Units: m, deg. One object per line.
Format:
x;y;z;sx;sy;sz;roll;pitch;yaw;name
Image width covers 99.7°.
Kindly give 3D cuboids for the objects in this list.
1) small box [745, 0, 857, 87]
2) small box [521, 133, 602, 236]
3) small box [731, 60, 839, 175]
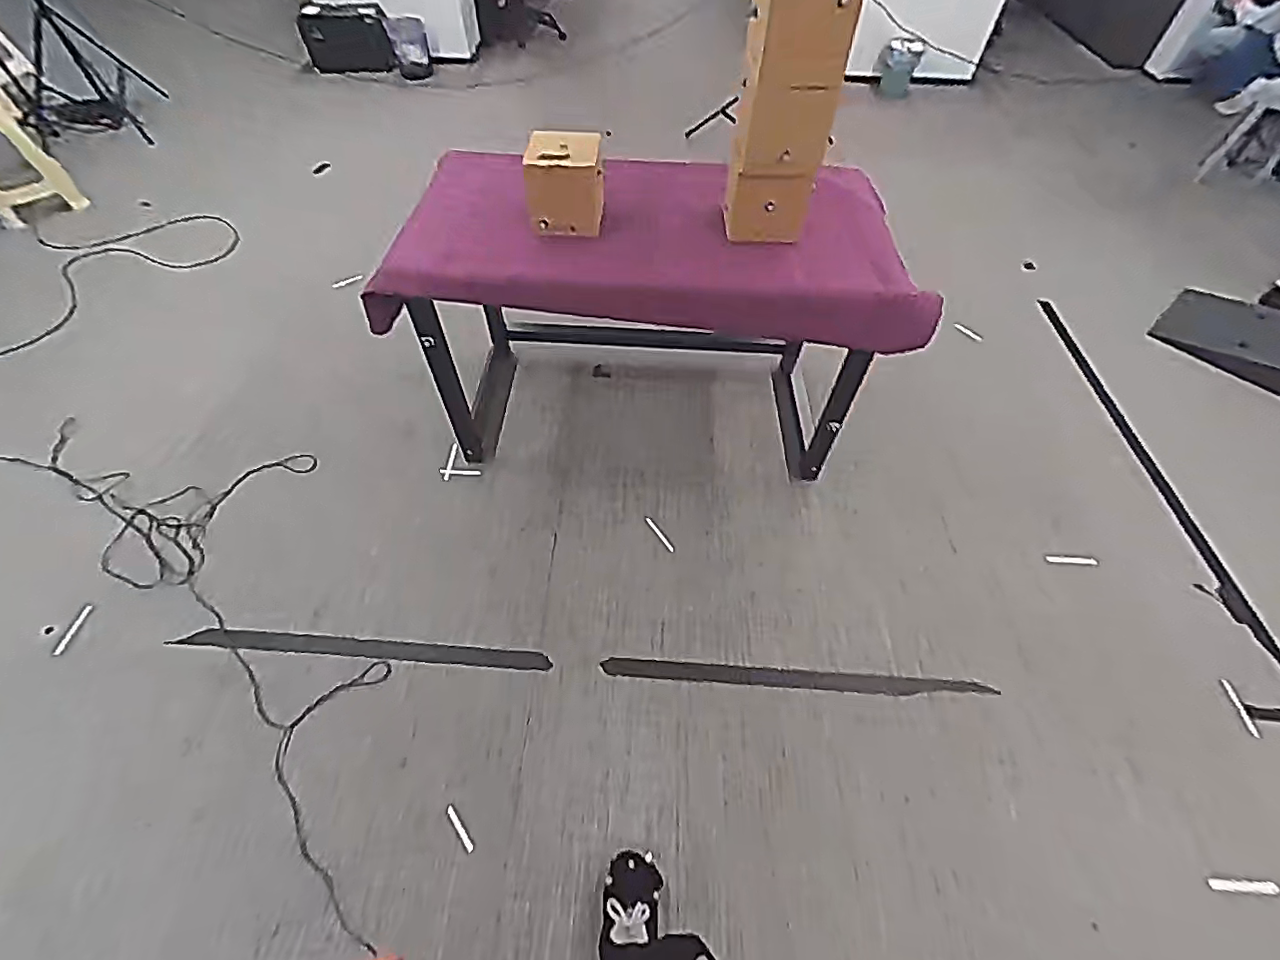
0.308;-0.892;1.055;0.179;0.176;0.168;-1;54;-2;small box
-0.182;-0.719;1.321;0.168;0.176;0.179;3;53;0;small box
0.307;-0.789;1.182;0.179;0.176;0.168;-1;53;-2;small box
